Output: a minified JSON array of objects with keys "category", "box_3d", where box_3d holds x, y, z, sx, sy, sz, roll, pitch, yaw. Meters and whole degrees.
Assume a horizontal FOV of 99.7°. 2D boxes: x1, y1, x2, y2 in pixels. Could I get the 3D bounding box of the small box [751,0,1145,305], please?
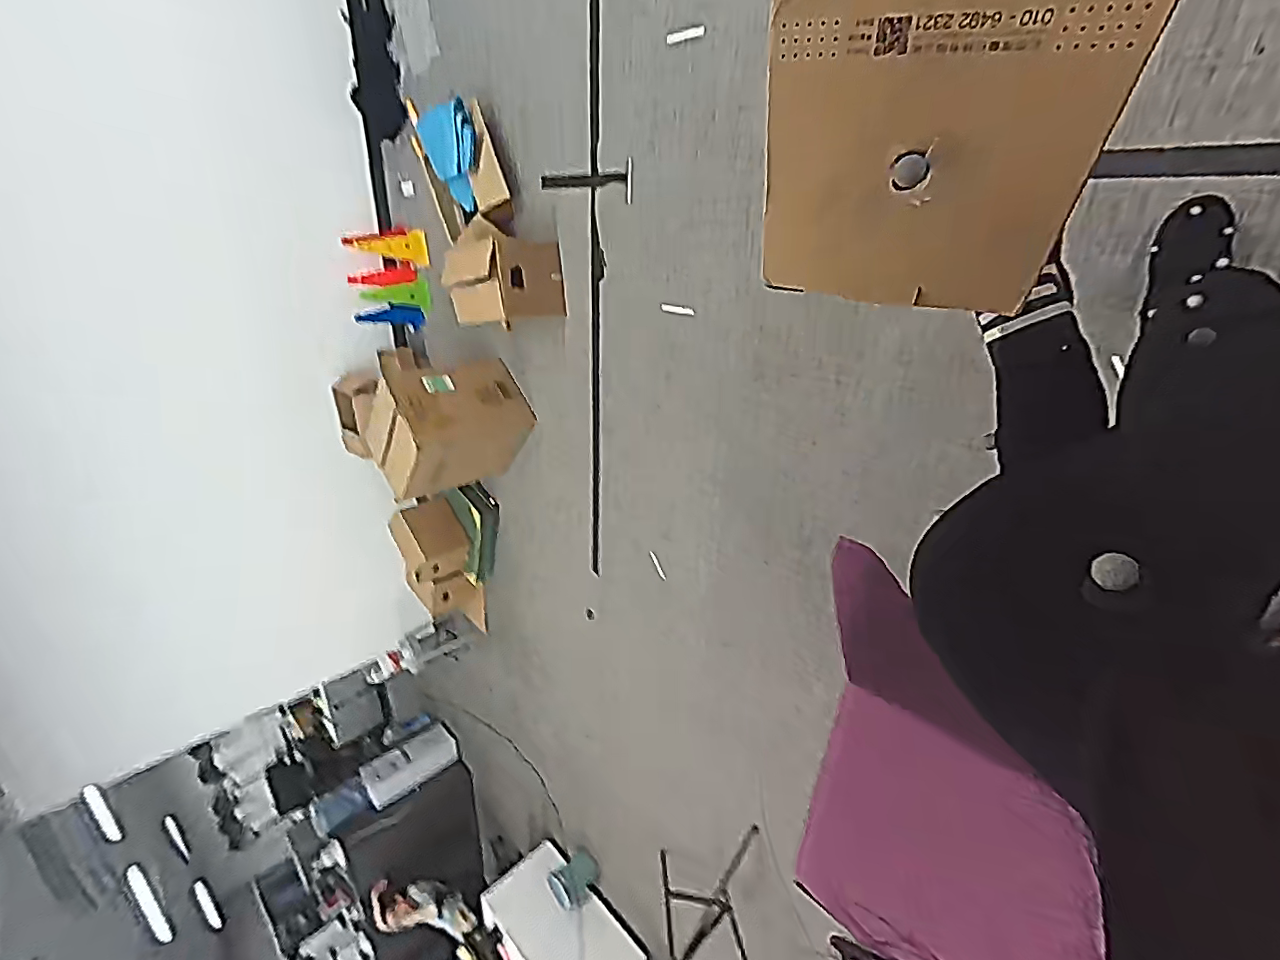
[{"category":"small box","box_3d":[0.171,-0.237,0.327,0.168,0.179,0.176,16,149,21]}]
